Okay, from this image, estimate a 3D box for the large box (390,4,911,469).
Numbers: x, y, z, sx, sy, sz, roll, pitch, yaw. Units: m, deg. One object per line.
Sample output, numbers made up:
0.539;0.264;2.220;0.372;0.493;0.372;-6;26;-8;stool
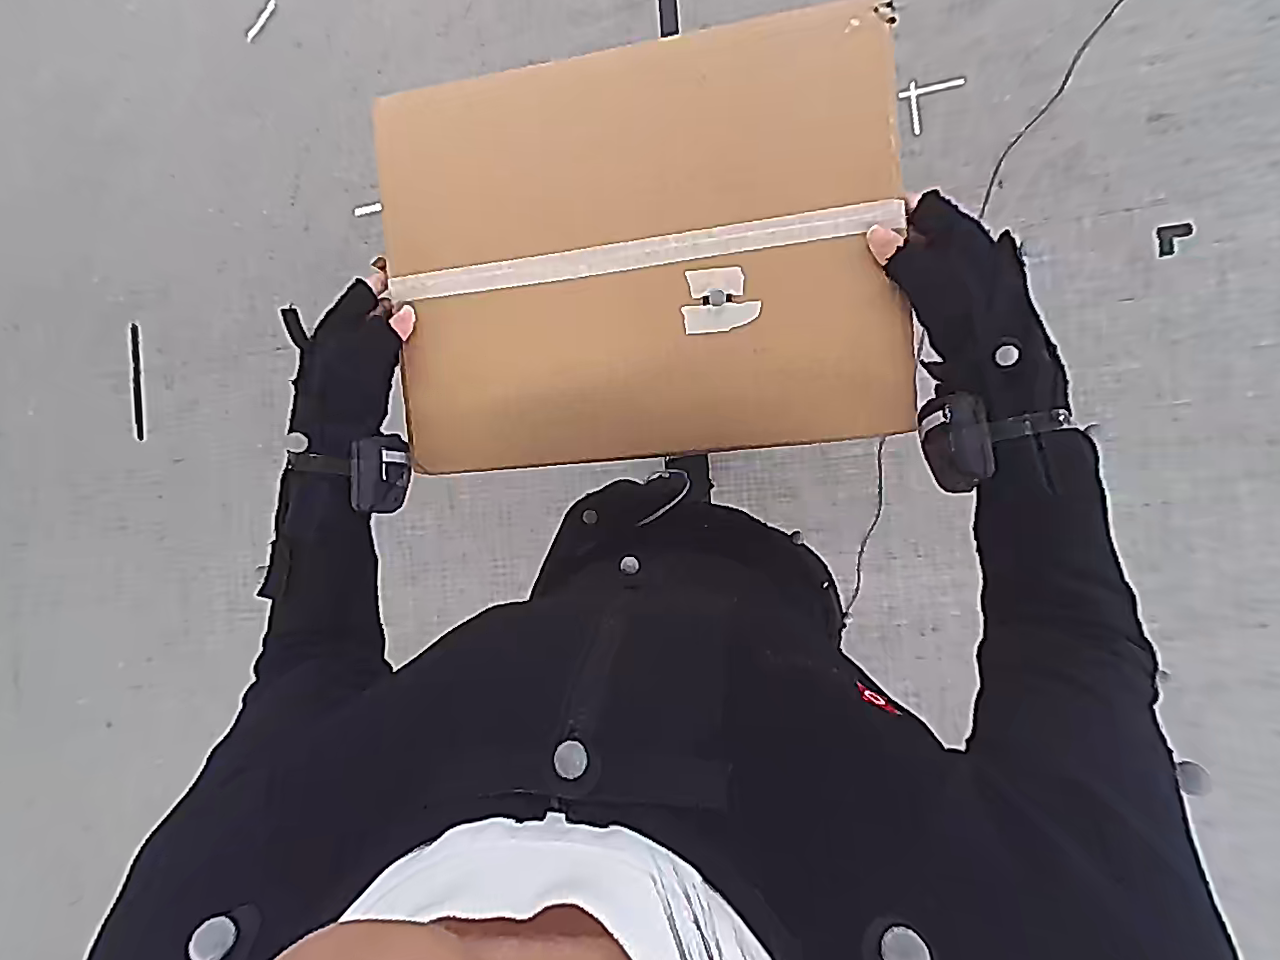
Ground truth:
0.017;-0.190;0.582;0.408;0.320;0.320;-5;93;8;large box
